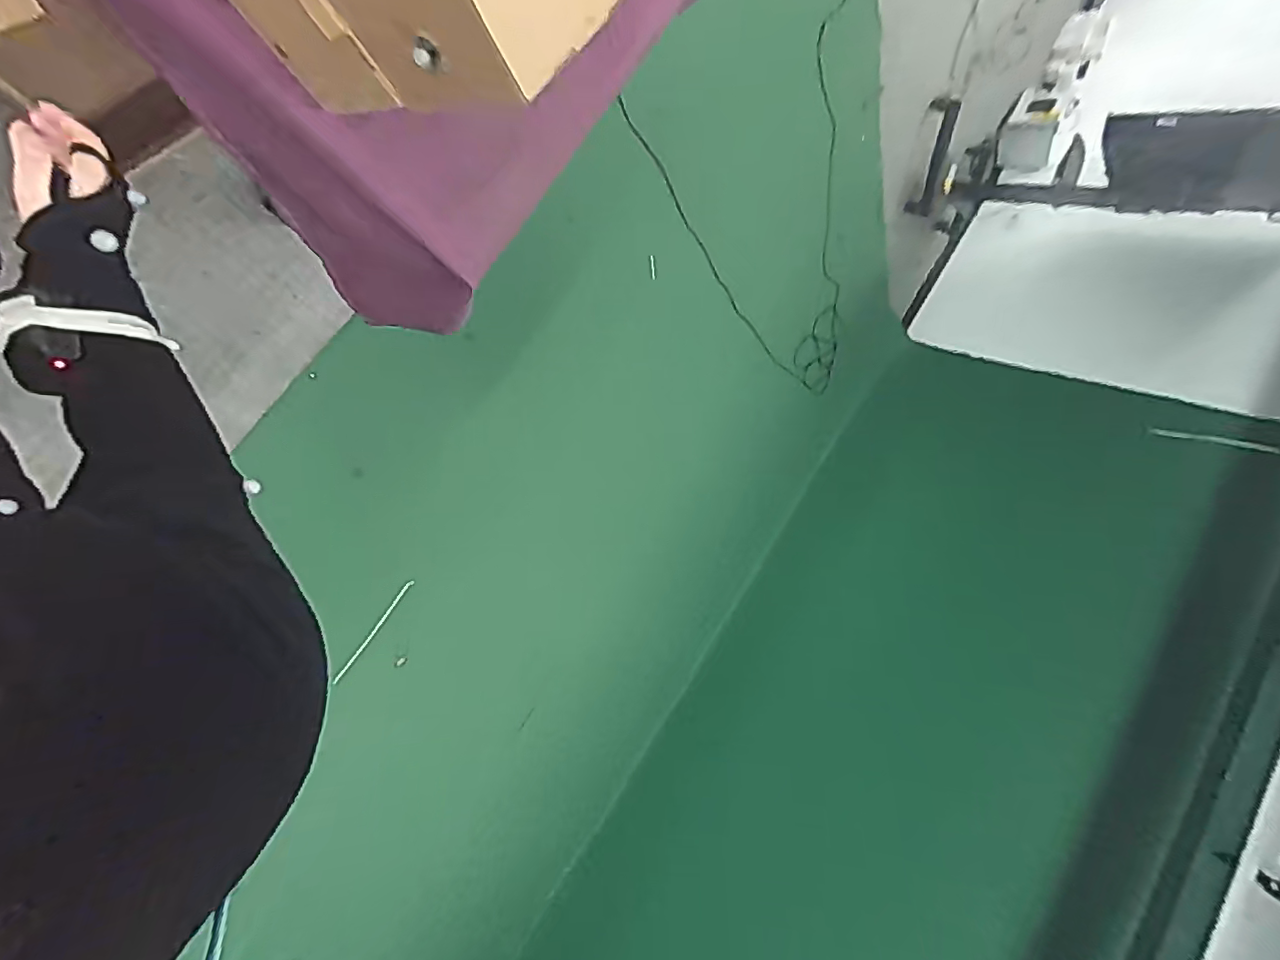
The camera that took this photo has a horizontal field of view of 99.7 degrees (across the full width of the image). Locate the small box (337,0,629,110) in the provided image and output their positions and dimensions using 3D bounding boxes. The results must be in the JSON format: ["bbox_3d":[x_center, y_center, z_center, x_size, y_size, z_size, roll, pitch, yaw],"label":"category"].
[{"bbox_3d":[-0.127,-0.399,0.381,0.168,0.176,0.179,-55,143,-12],"label":"small box"}]

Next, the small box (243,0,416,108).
[{"bbox_3d":[-0.249,-0.460,0.471,0.179,0.176,0.168,-56,144,-11],"label":"small box"}]
